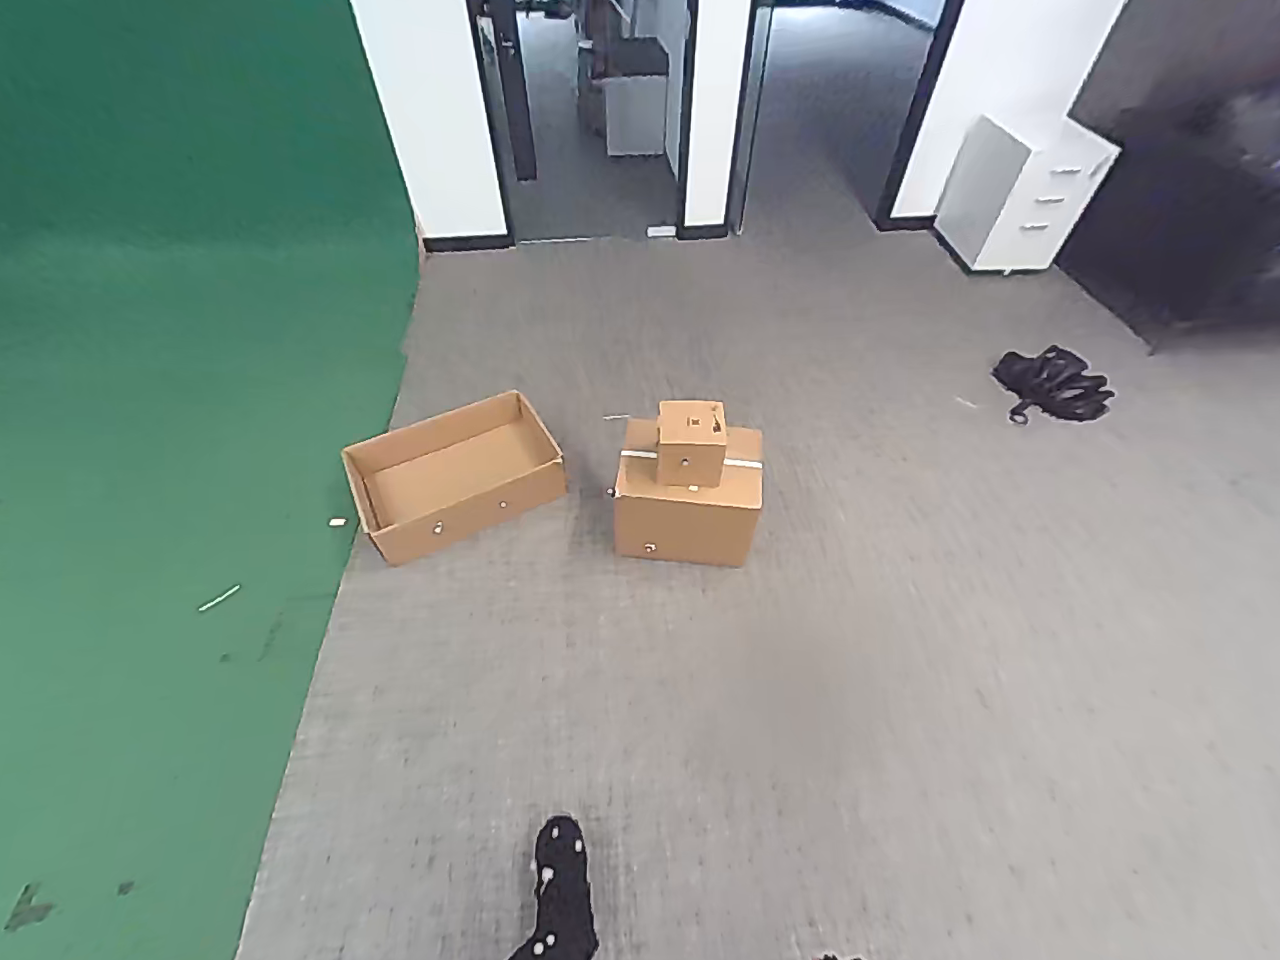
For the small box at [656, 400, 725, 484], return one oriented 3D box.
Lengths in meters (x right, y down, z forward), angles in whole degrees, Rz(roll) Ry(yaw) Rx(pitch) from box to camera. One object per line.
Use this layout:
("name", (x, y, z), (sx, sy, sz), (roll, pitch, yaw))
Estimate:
("small box", (0.131, -0.102, 1.476), (0.179, 0.176, 0.168), (1, 50, 1))
